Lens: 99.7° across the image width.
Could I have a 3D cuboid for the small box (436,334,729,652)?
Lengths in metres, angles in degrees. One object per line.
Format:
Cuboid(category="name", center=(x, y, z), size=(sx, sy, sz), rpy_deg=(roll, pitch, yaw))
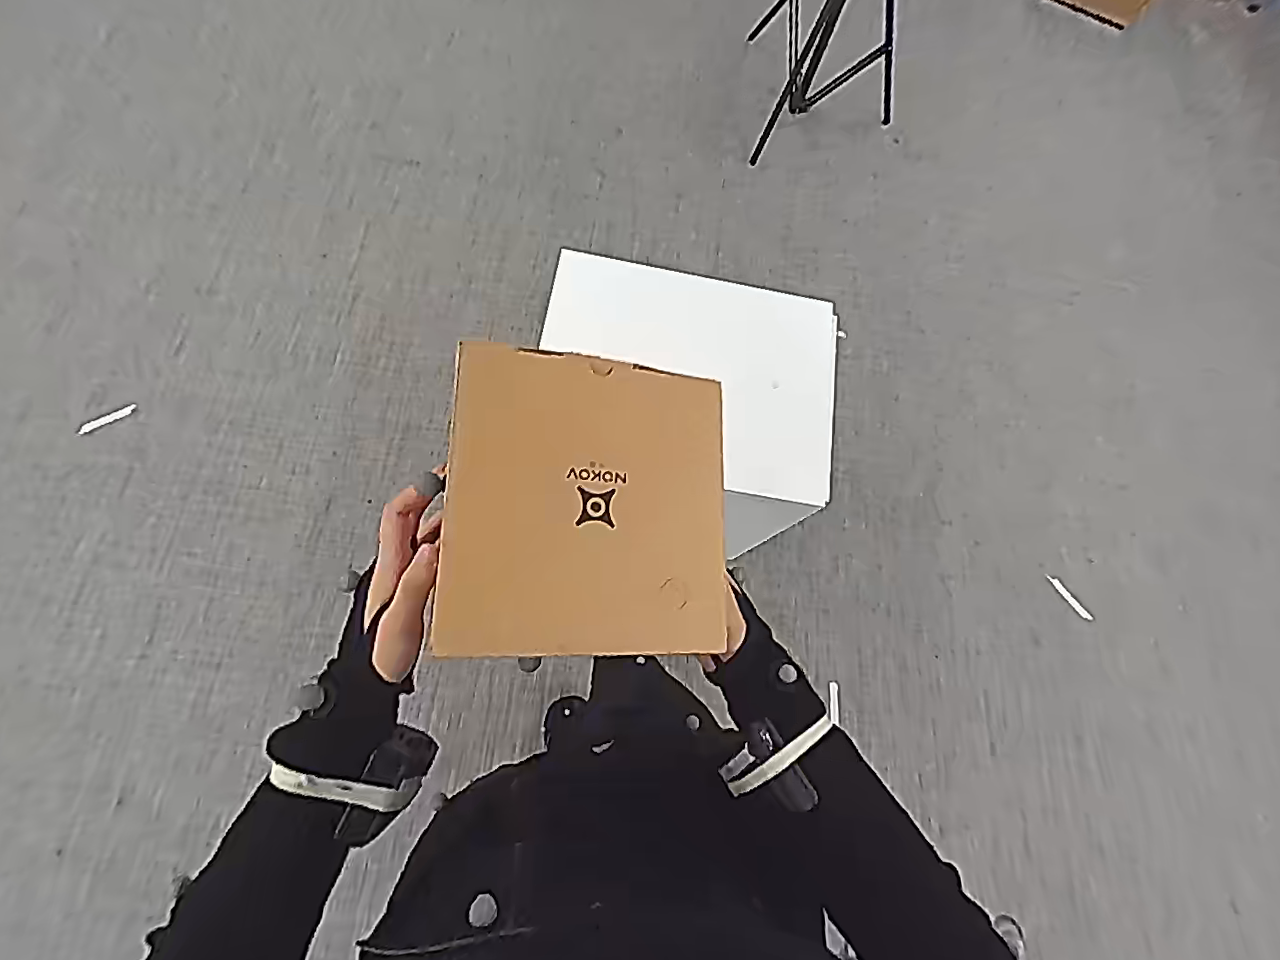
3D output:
Cuboid(category="small box", center=(-0.049, 0.024, 0.387), size=(0.168, 0.176, 0.179), rpy_deg=(5, 76, -19))
